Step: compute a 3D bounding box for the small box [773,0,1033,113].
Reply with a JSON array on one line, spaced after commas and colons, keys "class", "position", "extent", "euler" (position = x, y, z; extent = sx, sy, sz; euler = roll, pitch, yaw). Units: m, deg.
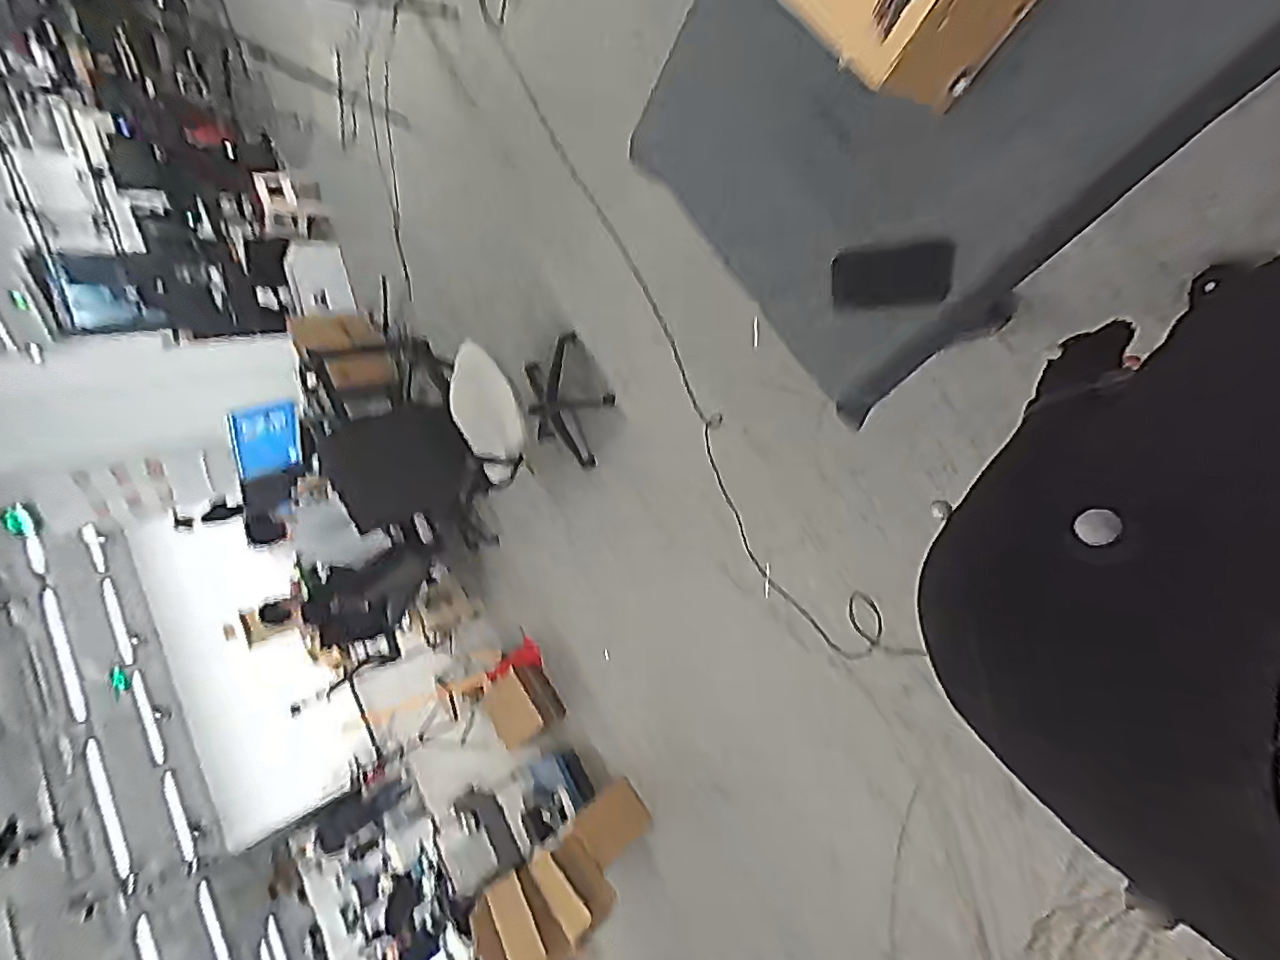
[{"class": "small box", "position": [0.280, -0.510, 0.552], "extent": [0.179, 0.176, 0.168], "euler": [58, 139, 17]}]
